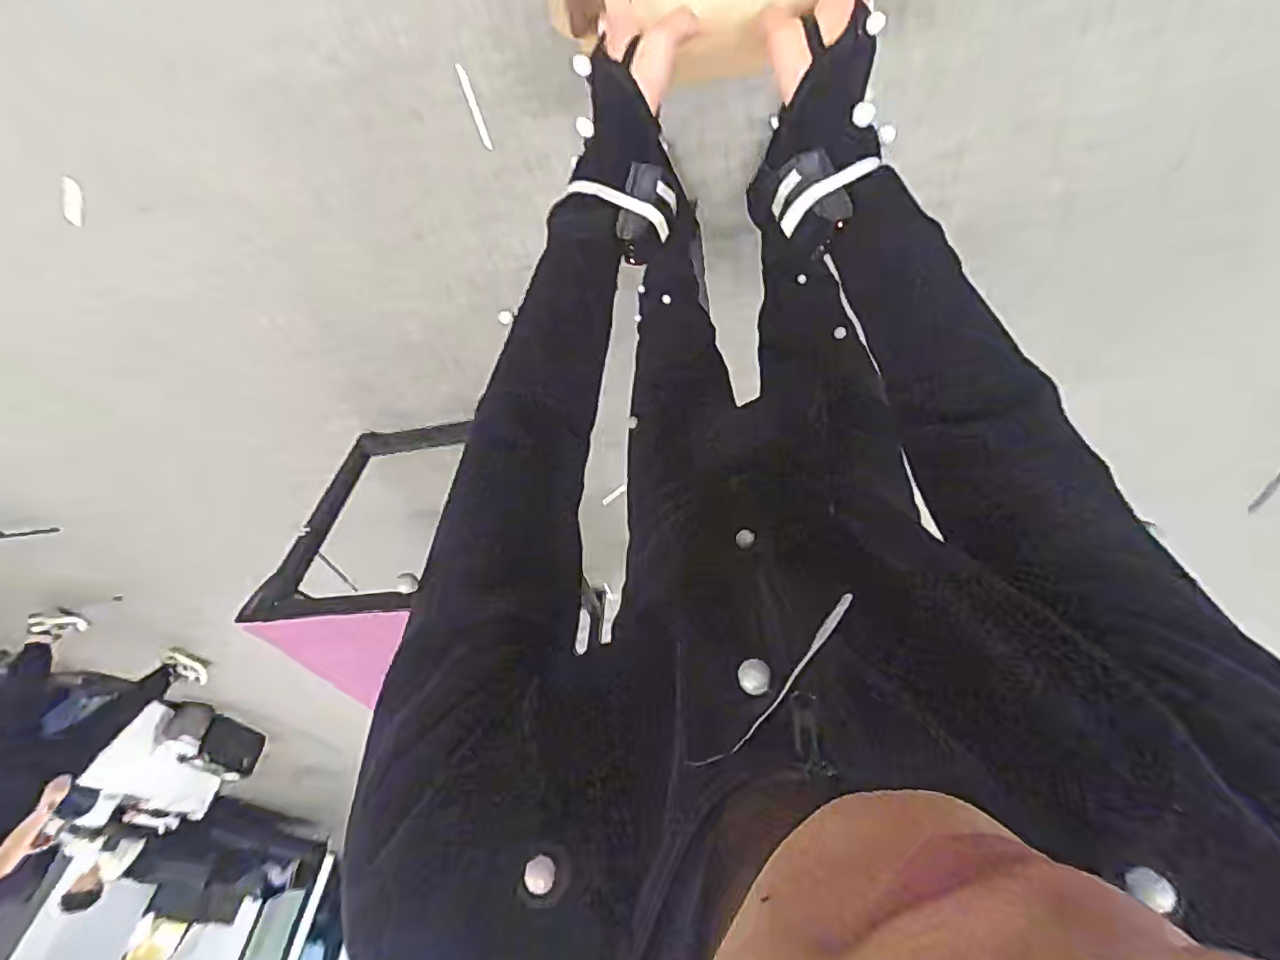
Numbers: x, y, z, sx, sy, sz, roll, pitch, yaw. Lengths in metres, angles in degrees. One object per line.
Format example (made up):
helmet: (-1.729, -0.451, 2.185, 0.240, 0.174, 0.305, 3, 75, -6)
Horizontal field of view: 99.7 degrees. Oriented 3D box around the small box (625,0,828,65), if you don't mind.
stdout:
small box: (0.076, -0.475, 0.444, 0.168, 0.176, 0.179, 3, 142, 6)
